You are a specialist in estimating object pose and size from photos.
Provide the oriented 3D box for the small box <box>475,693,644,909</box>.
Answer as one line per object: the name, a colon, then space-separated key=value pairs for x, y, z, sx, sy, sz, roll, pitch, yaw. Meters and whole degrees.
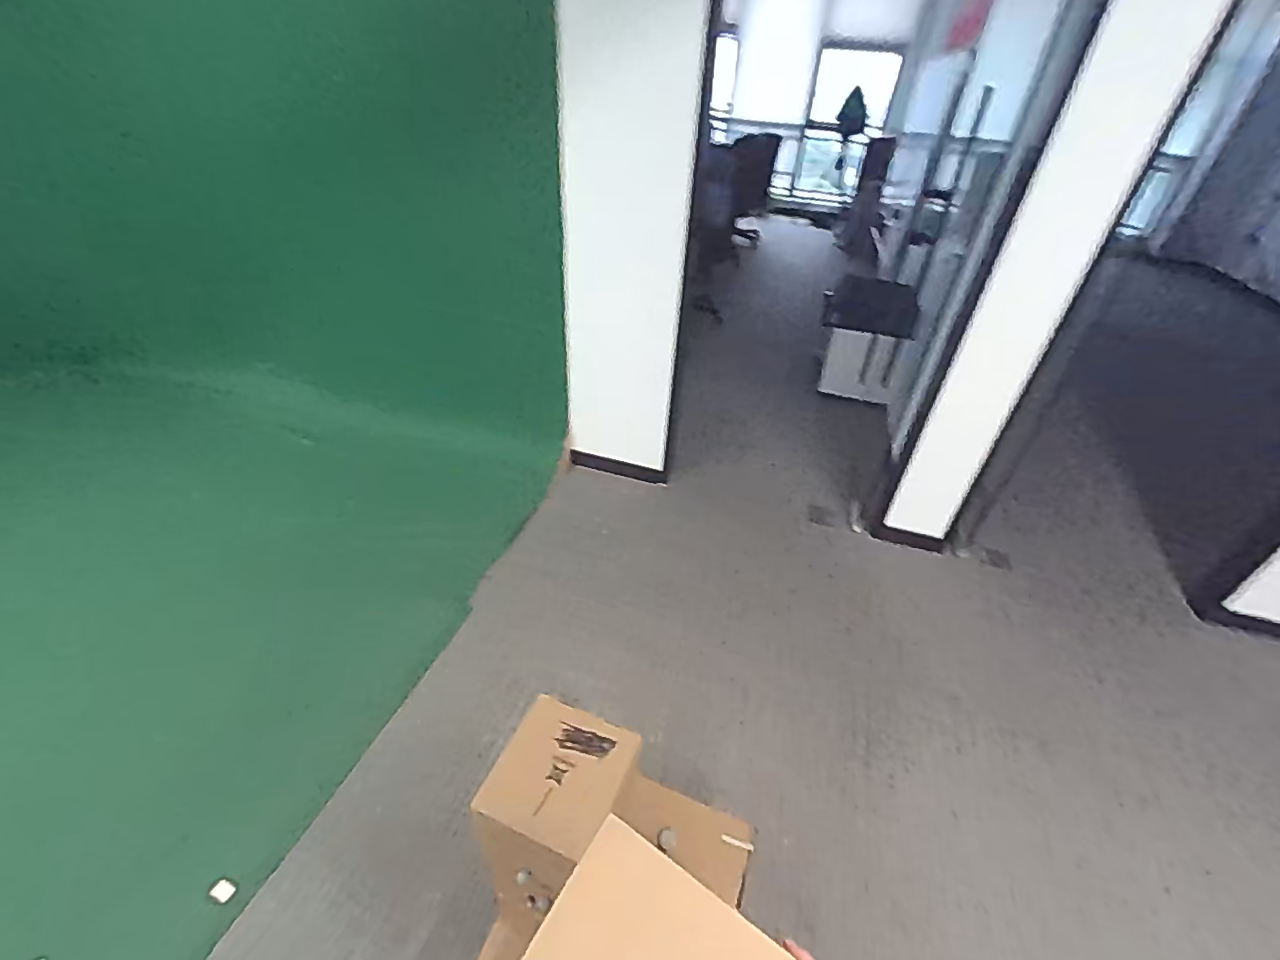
small box: x=-0.108 y=0.448 z=0.763 sx=0.168 sy=0.176 sz=0.179 roll=17 pitch=38 yaw=17

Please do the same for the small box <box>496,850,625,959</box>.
small box: x=-0.130 y=0.707 z=0.961 sx=0.168 sy=0.176 sz=0.179 roll=16 pitch=36 yaw=16
